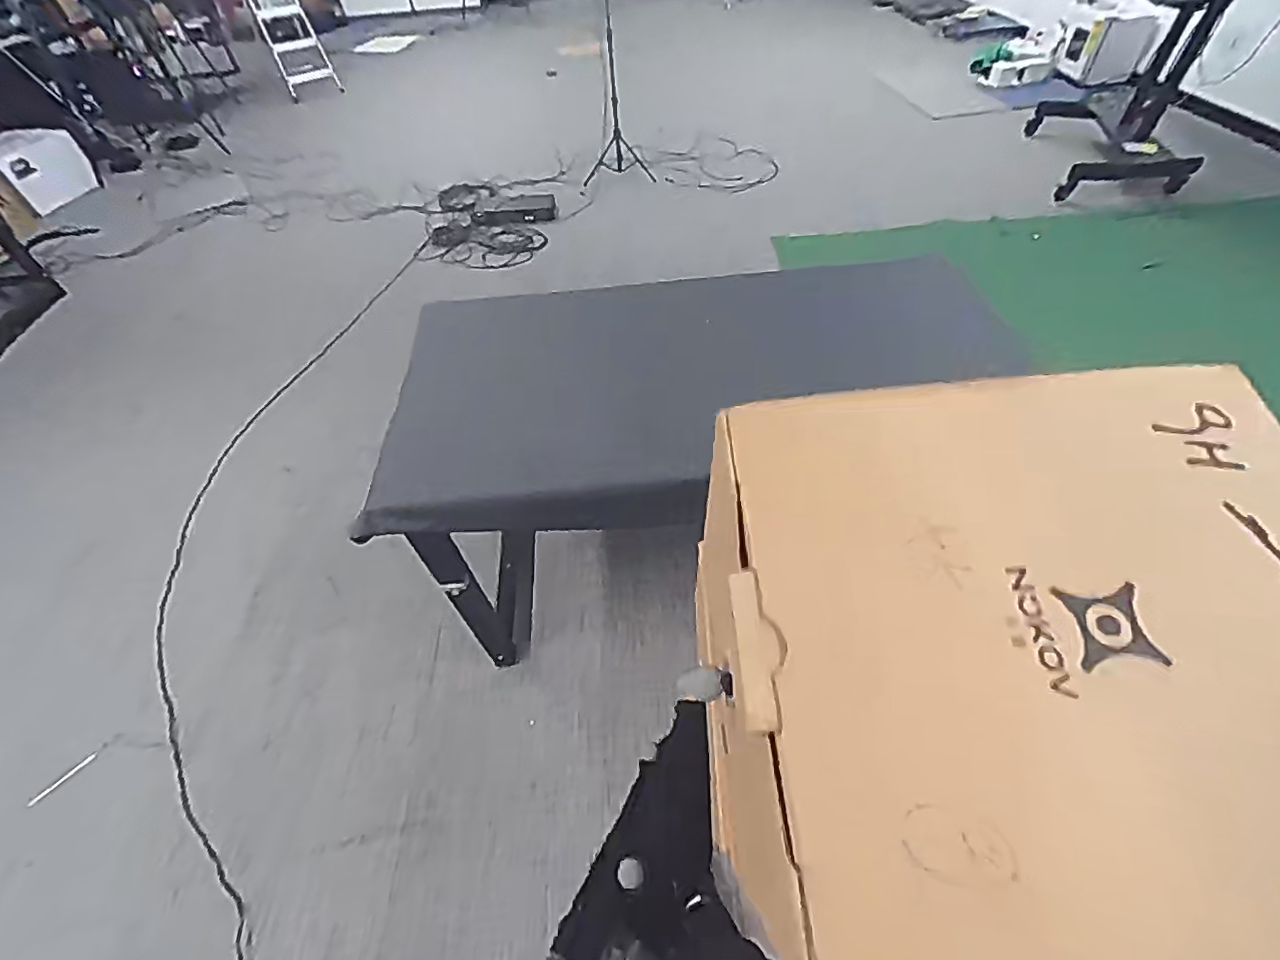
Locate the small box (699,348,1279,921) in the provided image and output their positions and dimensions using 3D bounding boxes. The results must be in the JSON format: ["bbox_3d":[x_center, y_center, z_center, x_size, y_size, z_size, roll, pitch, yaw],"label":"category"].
[{"bbox_3d":[0.121,0.068,0.239,0.179,0.176,0.168,-6,62,0],"label":"small box"}]
